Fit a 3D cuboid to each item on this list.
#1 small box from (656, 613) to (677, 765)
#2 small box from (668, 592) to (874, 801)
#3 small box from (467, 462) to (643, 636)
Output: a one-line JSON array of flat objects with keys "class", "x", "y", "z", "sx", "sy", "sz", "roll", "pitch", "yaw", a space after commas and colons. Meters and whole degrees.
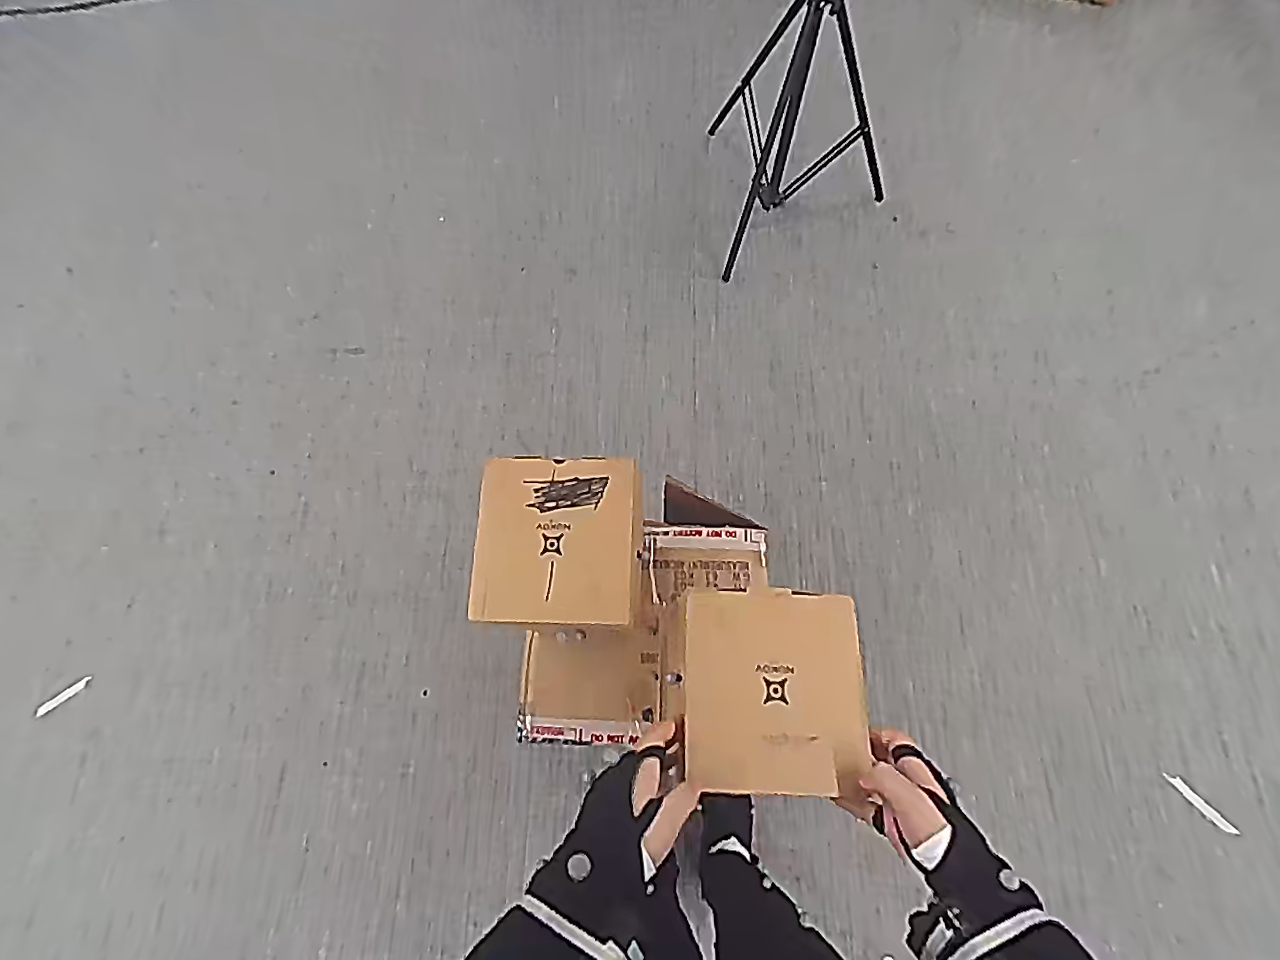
[{"class": "small box", "x": 0.107, "y": 0.278, "z": 0.737, "sx": 0.168, "sy": 0.176, "sz": 0.179, "roll": 2, "pitch": 73, "yaw": 1}, {"class": "small box", "x": 0.118, "y": 0.221, "z": 0.564, "sx": 0.168, "sy": 0.176, "sz": 0.179, "roll": 2, "pitch": 68, "yaw": -1}, {"class": "small box", "x": -0.084, "y": 0.088, "z": 0.633, "sx": 0.168, "sy": 0.176, "sz": 0.179, "roll": 0, "pitch": 73, "yaw": 4}]
